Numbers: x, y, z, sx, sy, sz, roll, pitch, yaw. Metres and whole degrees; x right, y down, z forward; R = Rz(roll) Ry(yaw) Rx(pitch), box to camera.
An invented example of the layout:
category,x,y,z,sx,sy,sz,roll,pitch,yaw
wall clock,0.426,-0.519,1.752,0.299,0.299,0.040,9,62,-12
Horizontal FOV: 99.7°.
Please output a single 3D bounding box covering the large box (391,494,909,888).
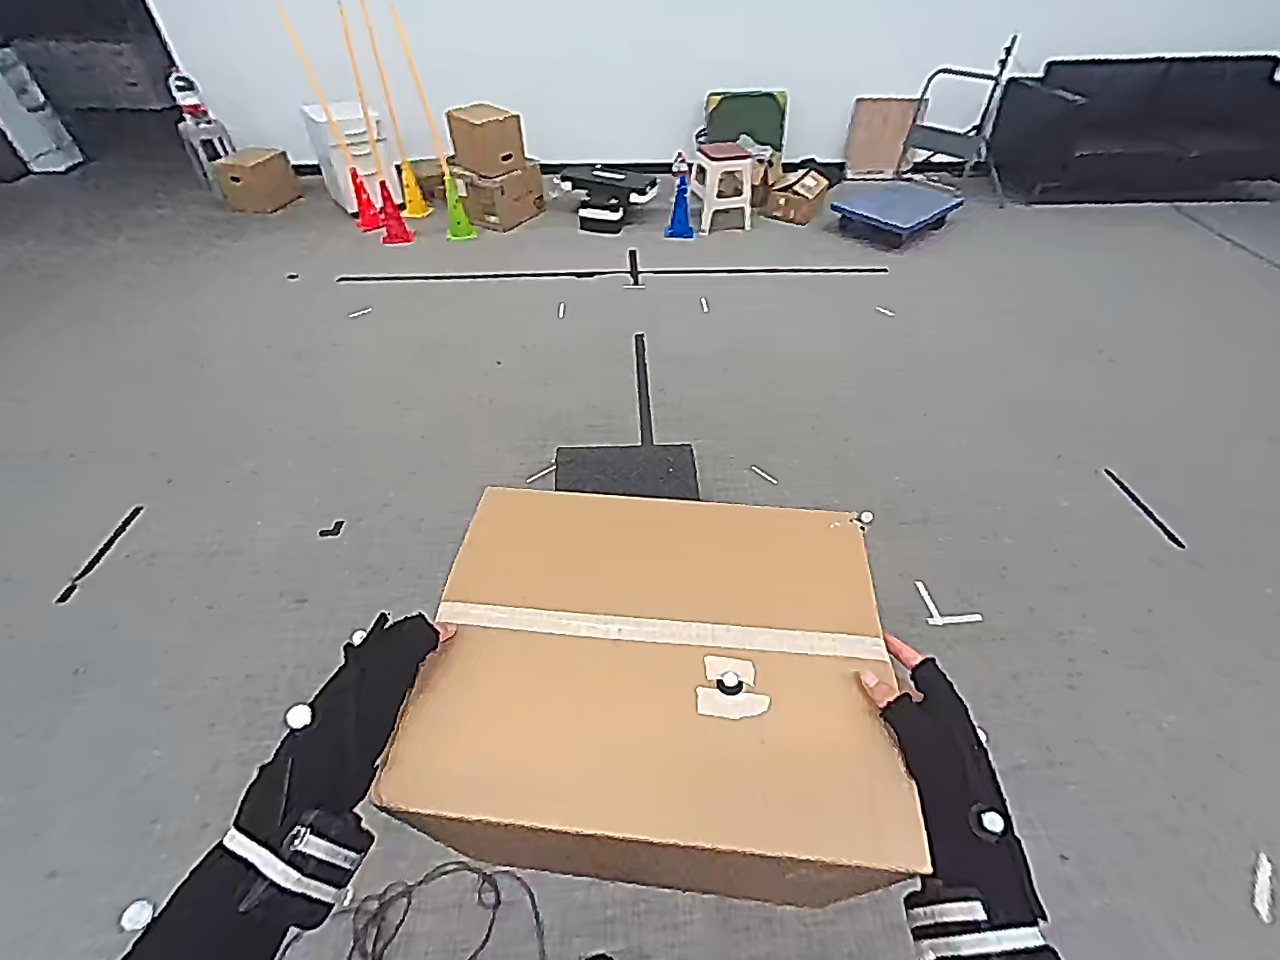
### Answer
category,x,y,z,sx,sy,sz,roll,pitch,yaw
large box,0.014,0.239,0.615,0.408,0.320,0.320,4,49,4
